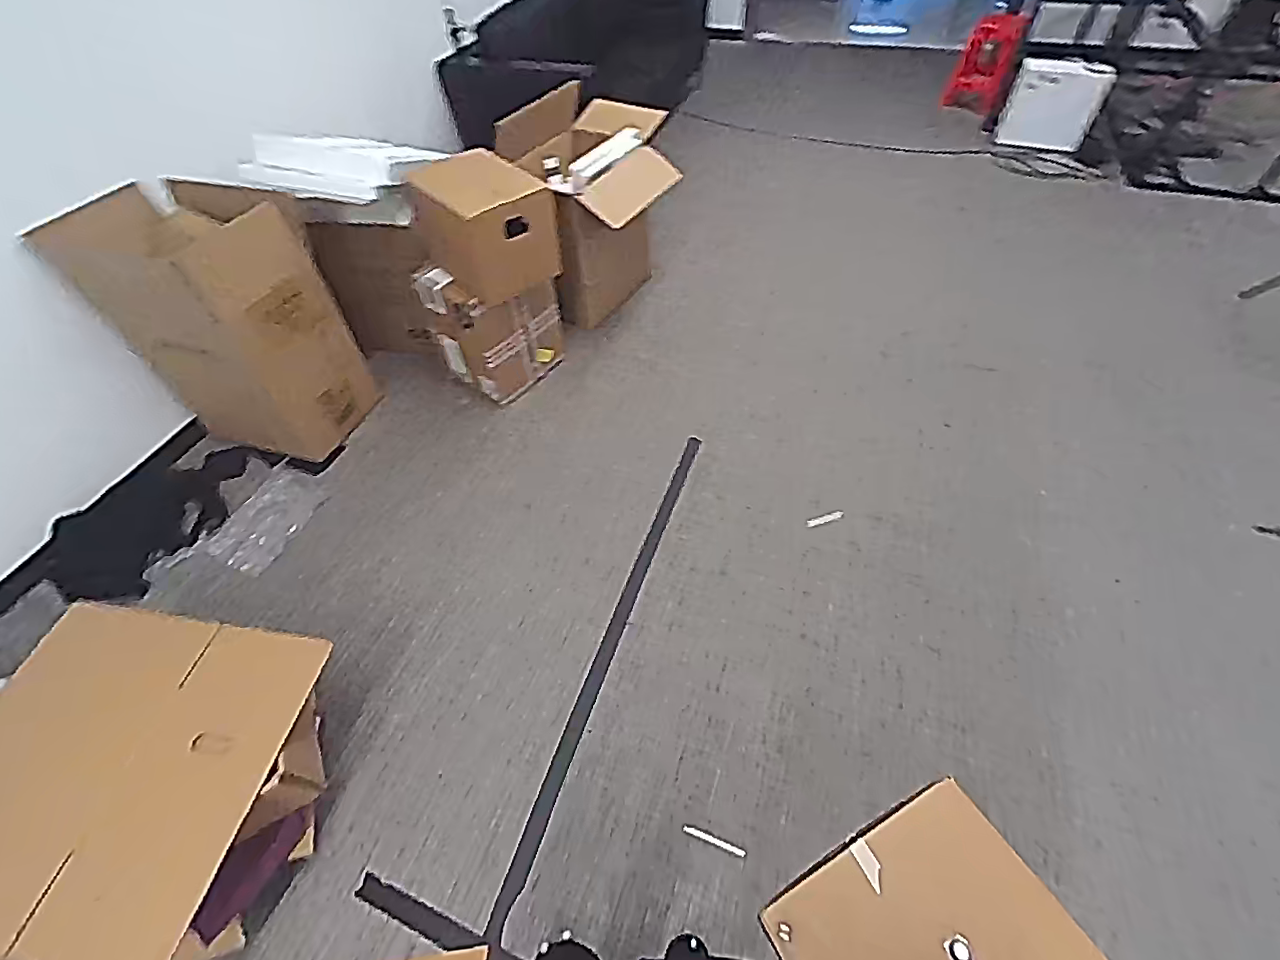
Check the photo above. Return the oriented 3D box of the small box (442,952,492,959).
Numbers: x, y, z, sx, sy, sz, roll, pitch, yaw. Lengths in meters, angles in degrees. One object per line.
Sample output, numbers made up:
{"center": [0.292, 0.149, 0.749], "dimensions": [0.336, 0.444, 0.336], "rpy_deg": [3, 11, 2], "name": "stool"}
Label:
{"center": [-0.268, 0.743, 0.658], "dimensions": [0.168, 0.179, 0.176], "rpy_deg": [-6, 91, -4], "name": "small box"}
